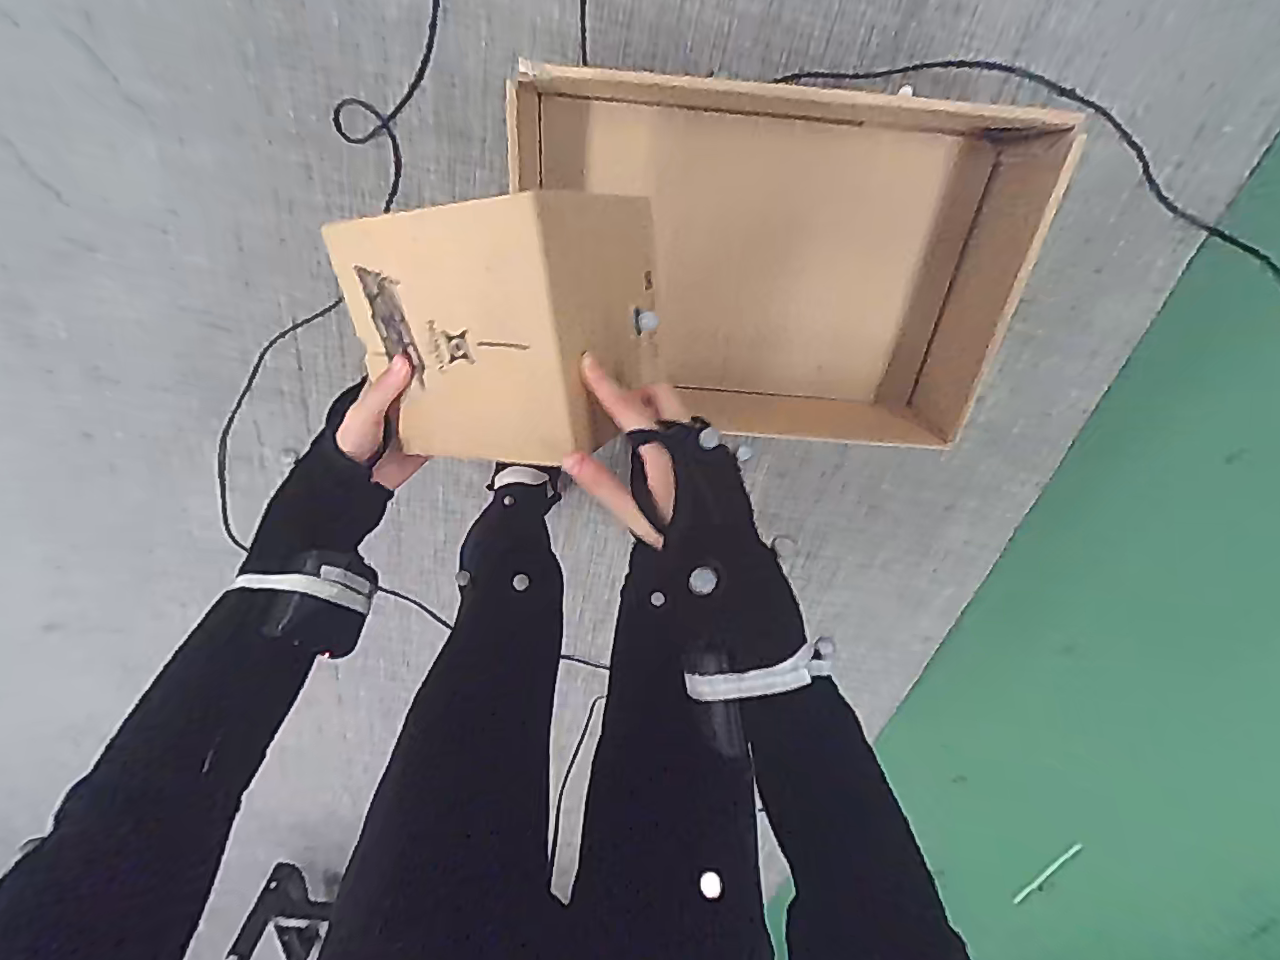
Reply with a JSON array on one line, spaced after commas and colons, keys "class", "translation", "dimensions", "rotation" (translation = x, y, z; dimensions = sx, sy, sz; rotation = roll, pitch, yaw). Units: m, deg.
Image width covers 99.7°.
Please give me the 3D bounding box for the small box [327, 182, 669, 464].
[{"class": "small box", "translation": [-0.092, -0.123, 0.422], "dimensions": [0.179, 0.176, 0.168], "rotation": [5, 115, 25]}]
